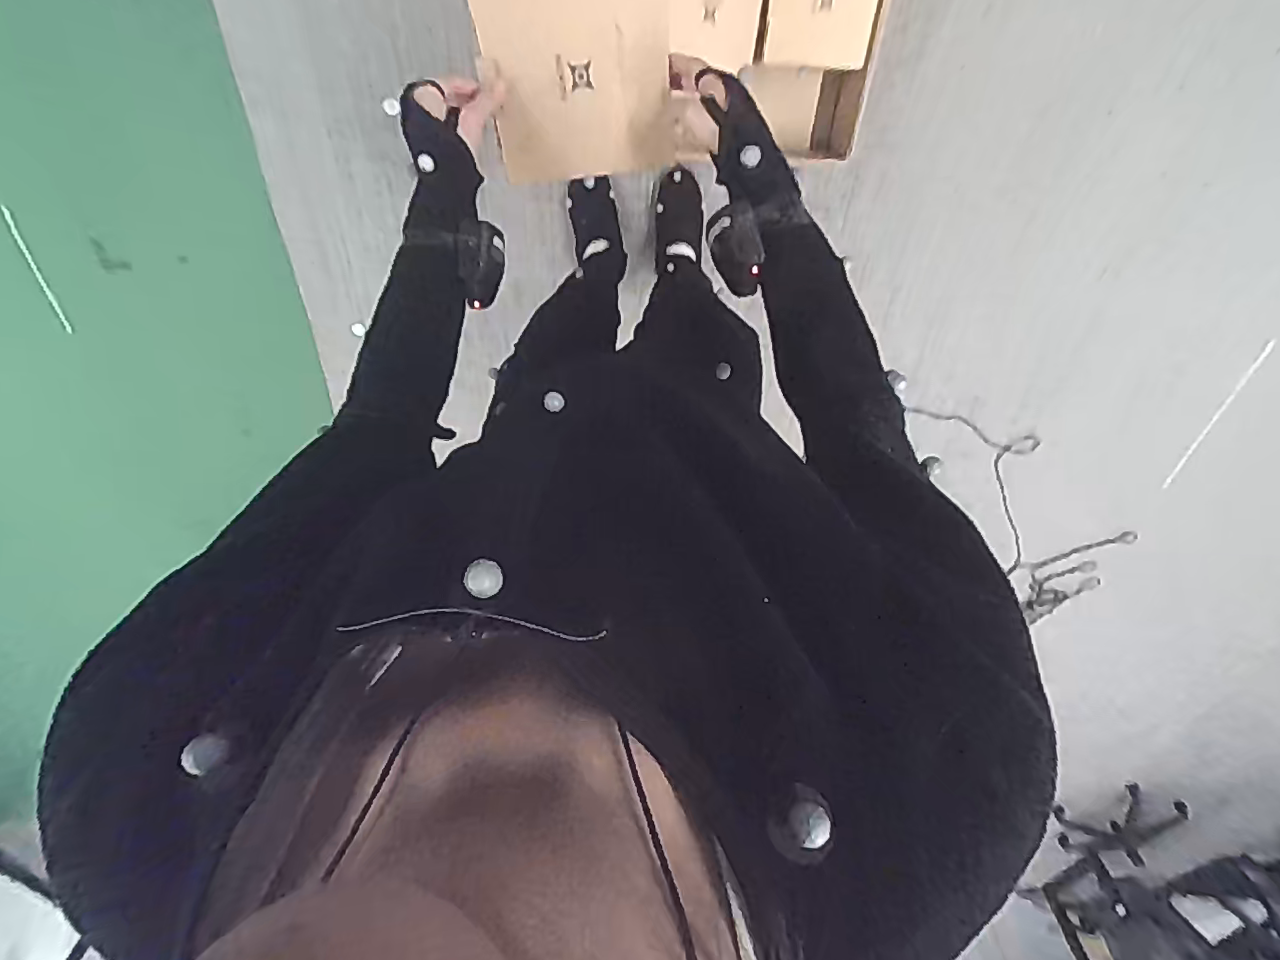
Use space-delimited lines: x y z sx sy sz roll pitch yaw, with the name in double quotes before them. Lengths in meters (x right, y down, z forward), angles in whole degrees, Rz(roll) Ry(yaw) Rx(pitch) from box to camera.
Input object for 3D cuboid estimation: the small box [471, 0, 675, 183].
"small box" -0.057 -0.420 0.568 0.179 0.176 0.168 -5 126 1
